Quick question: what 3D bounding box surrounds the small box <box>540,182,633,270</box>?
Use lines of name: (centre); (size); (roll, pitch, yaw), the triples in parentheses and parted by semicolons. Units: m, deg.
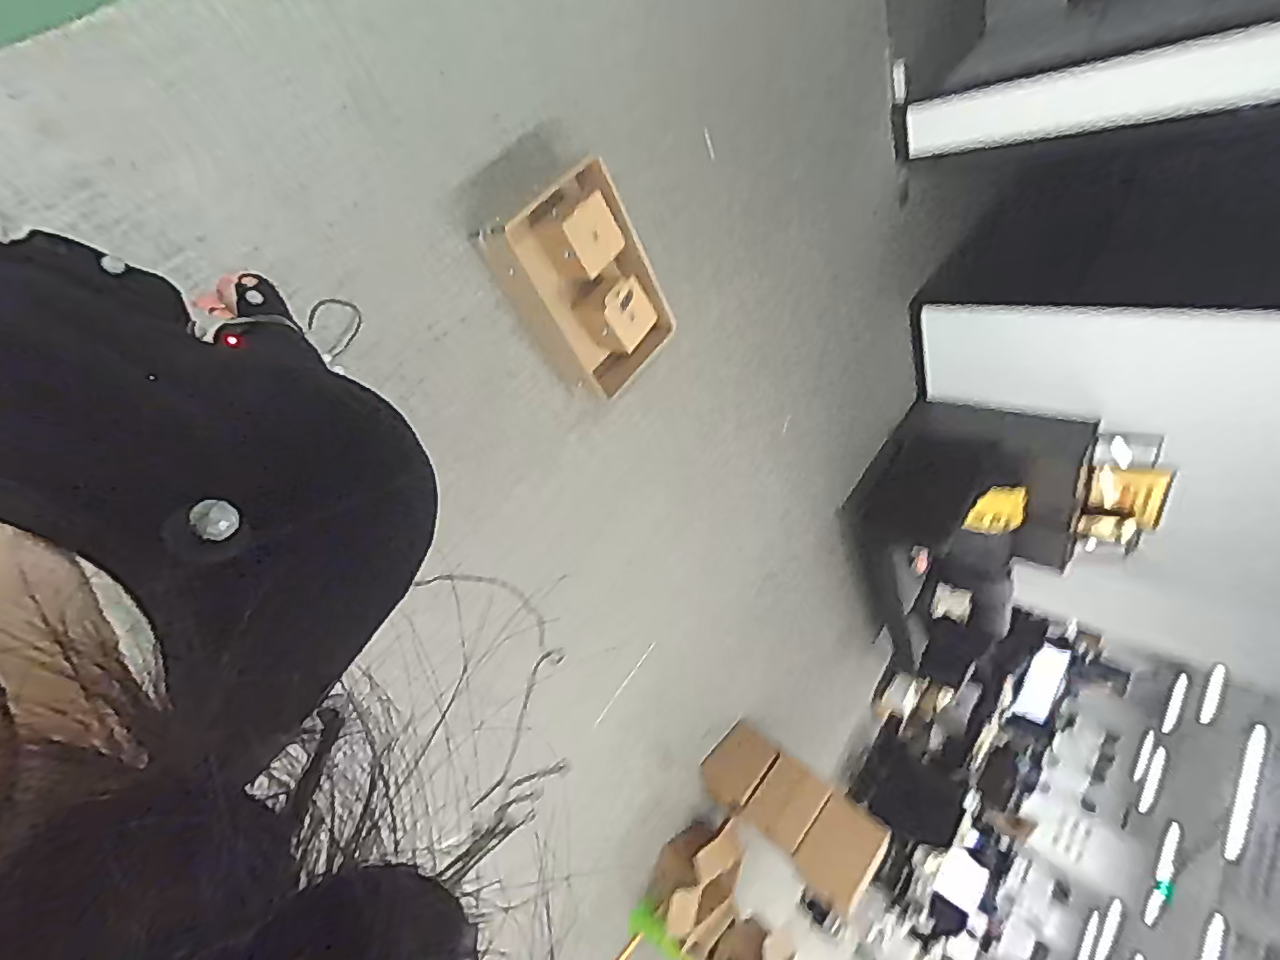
small box: (-0.160, -0.741, 1.589); (0.168, 0.176, 0.179); (-51, 135, -15)

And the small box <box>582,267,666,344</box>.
small box: (-0.055, -0.565, 1.758); (0.168, 0.176, 0.179); (-54, 134, -14)
